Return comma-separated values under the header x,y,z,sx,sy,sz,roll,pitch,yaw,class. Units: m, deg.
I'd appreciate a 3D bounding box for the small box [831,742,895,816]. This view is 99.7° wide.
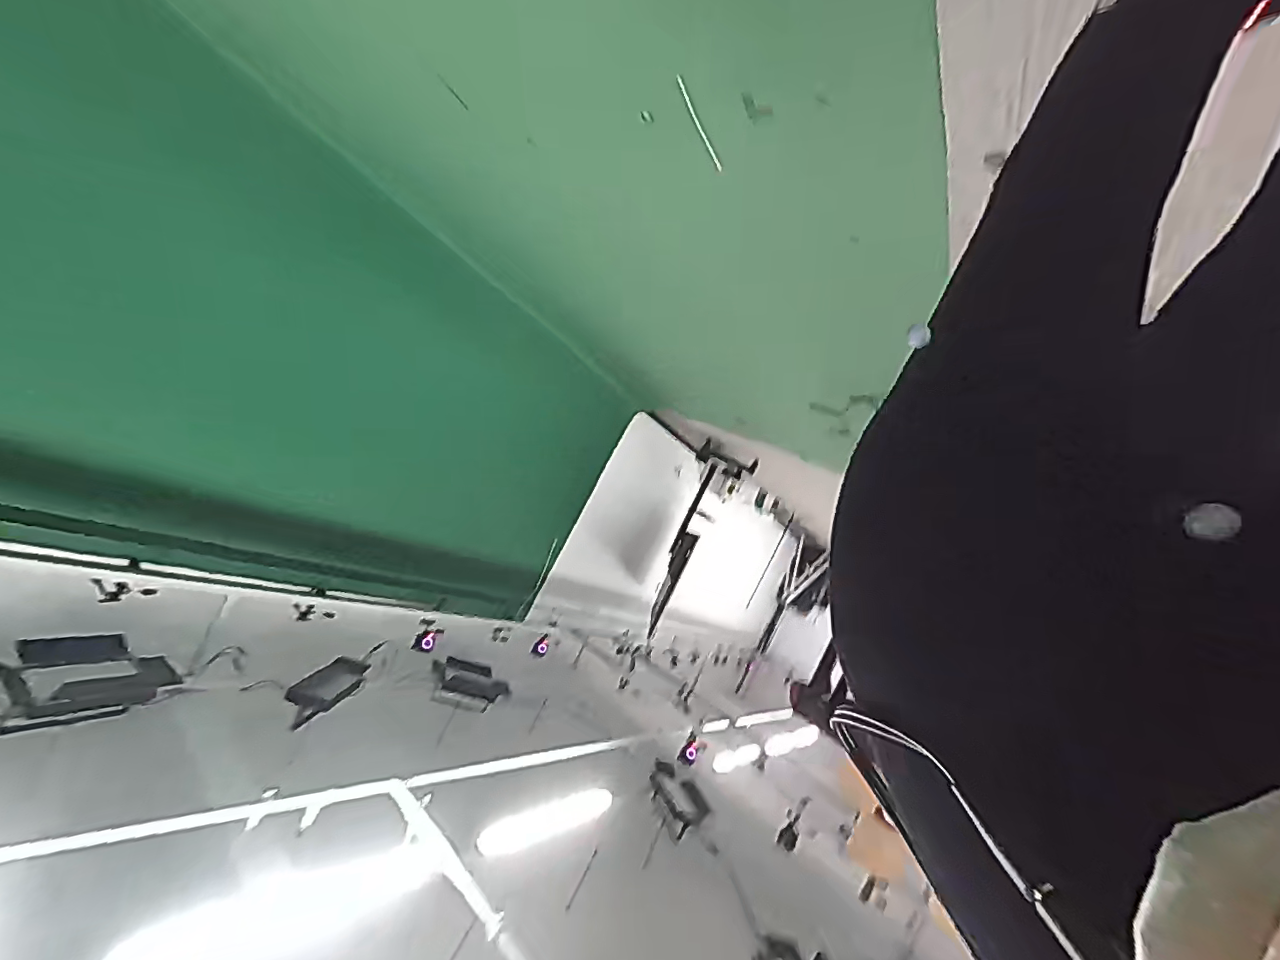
x,y,z,sx,sy,sz,roll,pitch,yaw,class
0.838,1.112,2.026,0.168,0.176,0.179,25,178,32,small box

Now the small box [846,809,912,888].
x,y,z,sx,sy,sz,roll,pitch,yaw,class
0.862,1.305,1.945,0.168,0.176,0.179,26,177,32,small box

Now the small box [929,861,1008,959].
x,y,z,sx,sy,sz,roll,pitch,yaw,class
1.075,1.406,1.770,0.179,0.176,0.168,27,178,34,small box
